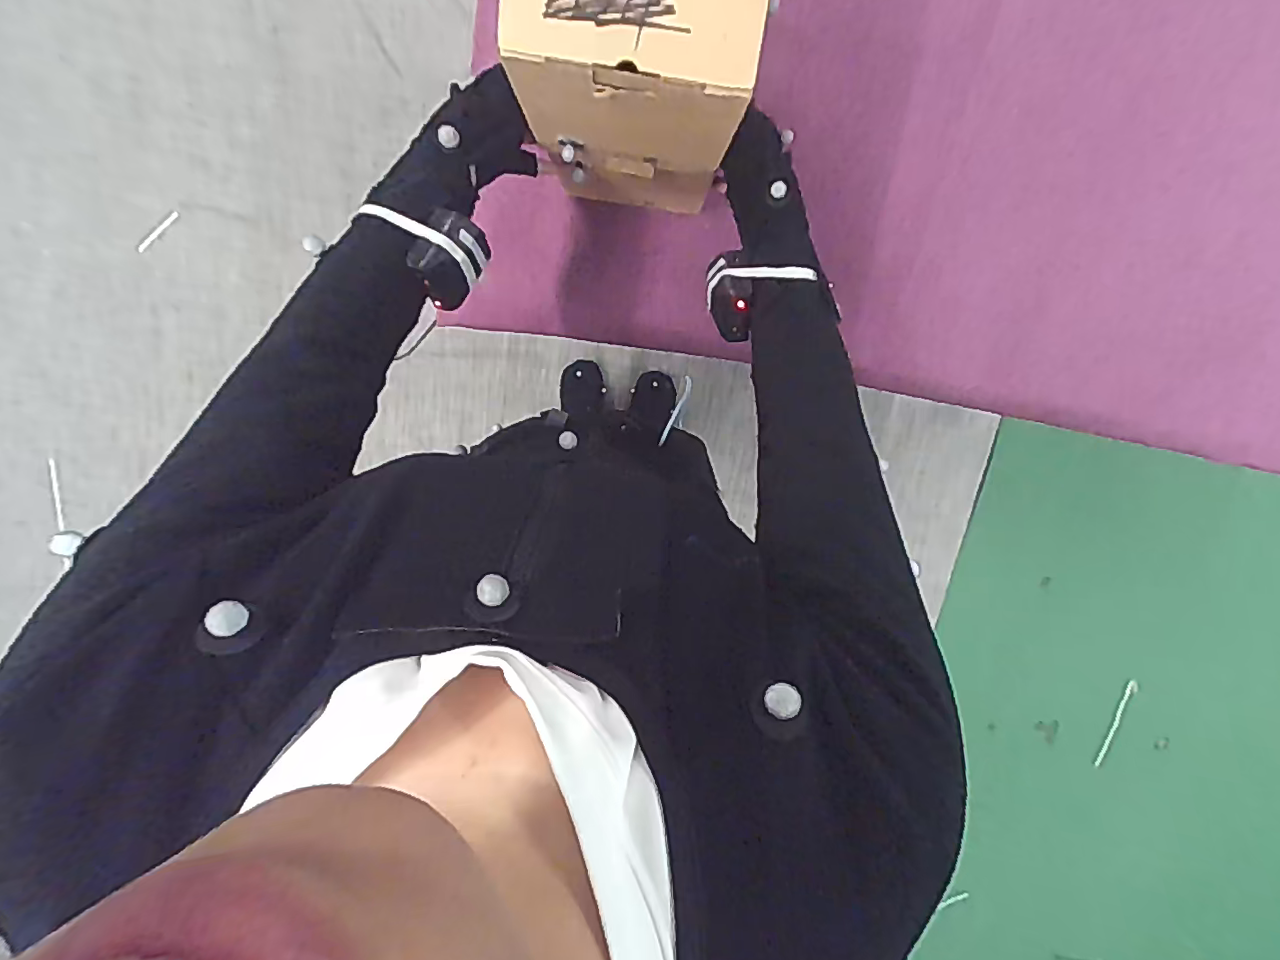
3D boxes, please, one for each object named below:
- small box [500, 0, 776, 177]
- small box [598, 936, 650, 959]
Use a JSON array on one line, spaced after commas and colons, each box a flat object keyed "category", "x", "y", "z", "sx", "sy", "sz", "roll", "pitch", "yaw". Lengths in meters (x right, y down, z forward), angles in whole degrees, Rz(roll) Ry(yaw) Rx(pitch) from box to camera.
[{"category": "small box", "x": 0.006, "y": -0.350, "z": 0.397, "sx": 0.168, "sy": 0.176, "sz": 0.179, "roll": 10, "pitch": 104, "yaw": -6}, {"category": "small box", "x": -0.057, "y": 1.652, "z": 1.768, "sx": 0.168, "sy": 0.176, "sz": 0.179, "roll": 8, "pitch": 105, "yaw": -3}]
